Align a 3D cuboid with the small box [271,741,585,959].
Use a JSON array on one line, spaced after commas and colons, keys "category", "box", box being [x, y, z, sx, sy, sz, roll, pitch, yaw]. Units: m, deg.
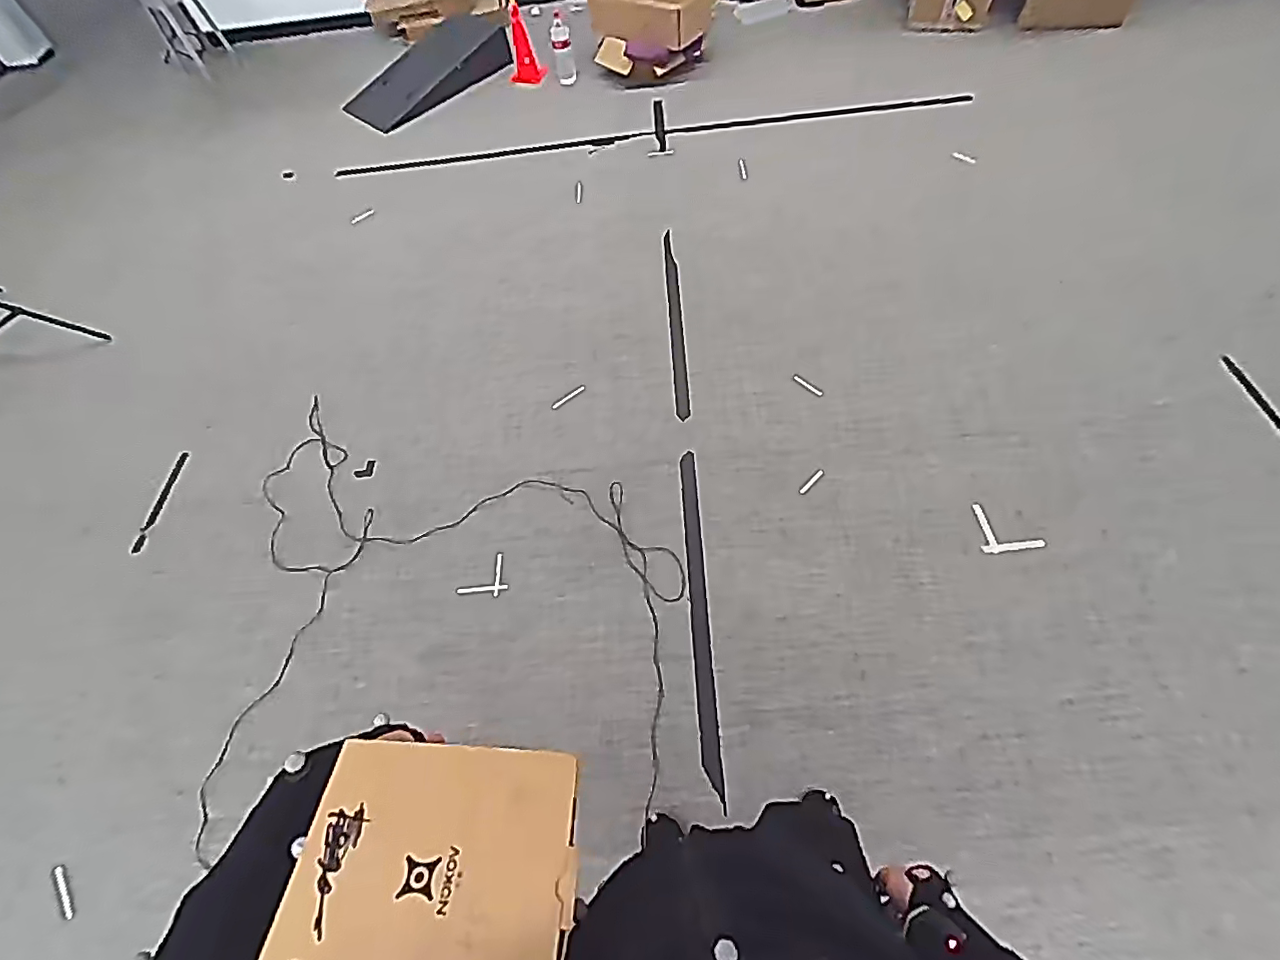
[{"category": "small box", "box": [-0.142, 0.319, 0.409, 0.179, 0.176, 0.168, 7, 44, -5]}]
